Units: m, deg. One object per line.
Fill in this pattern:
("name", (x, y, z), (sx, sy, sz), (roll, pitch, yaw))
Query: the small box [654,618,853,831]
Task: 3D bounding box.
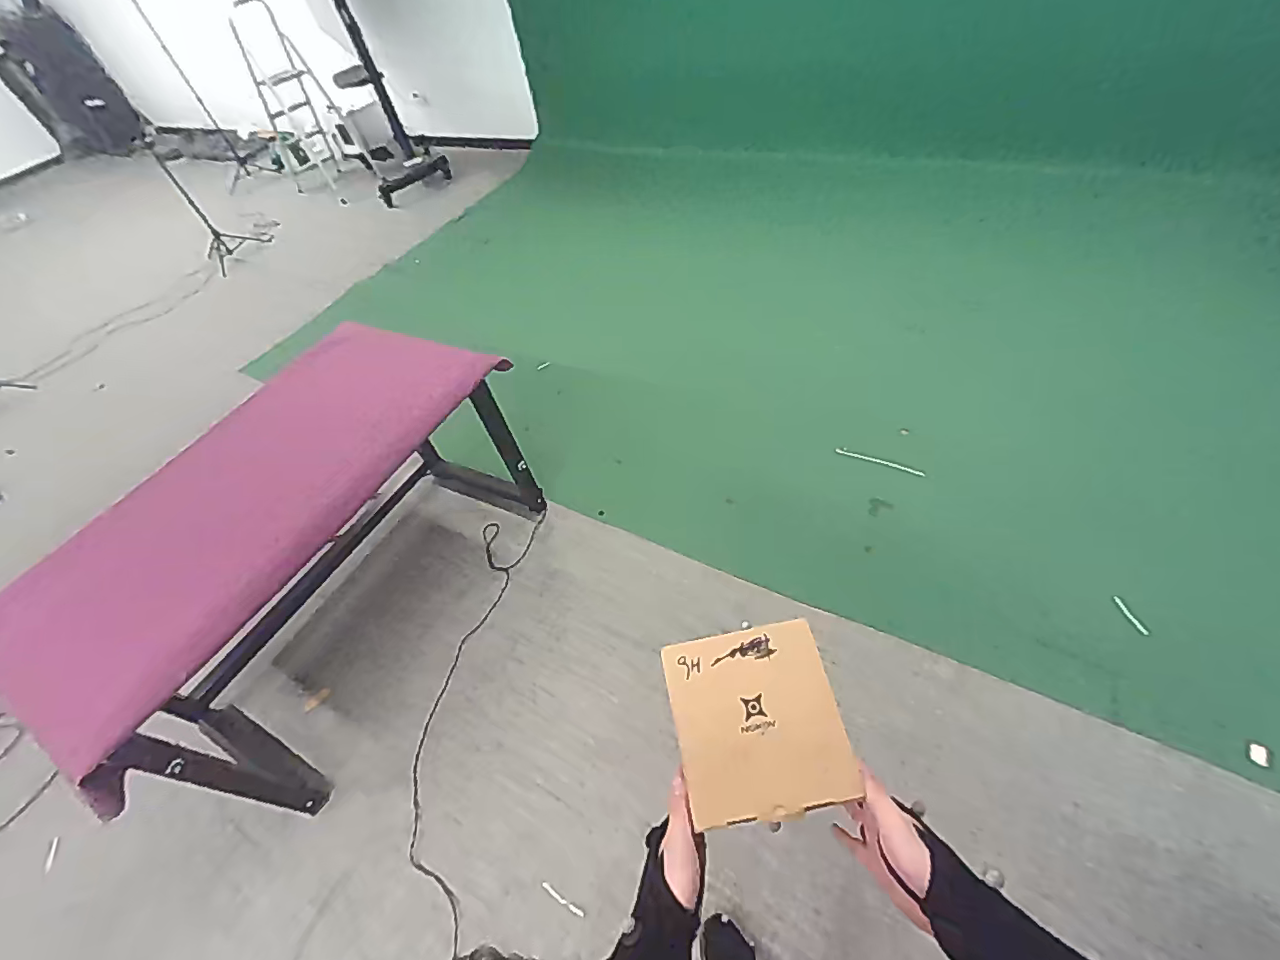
("small box", (0.118, 0.277, 0.618), (0.168, 0.176, 0.179), (-12, 60, 0))
